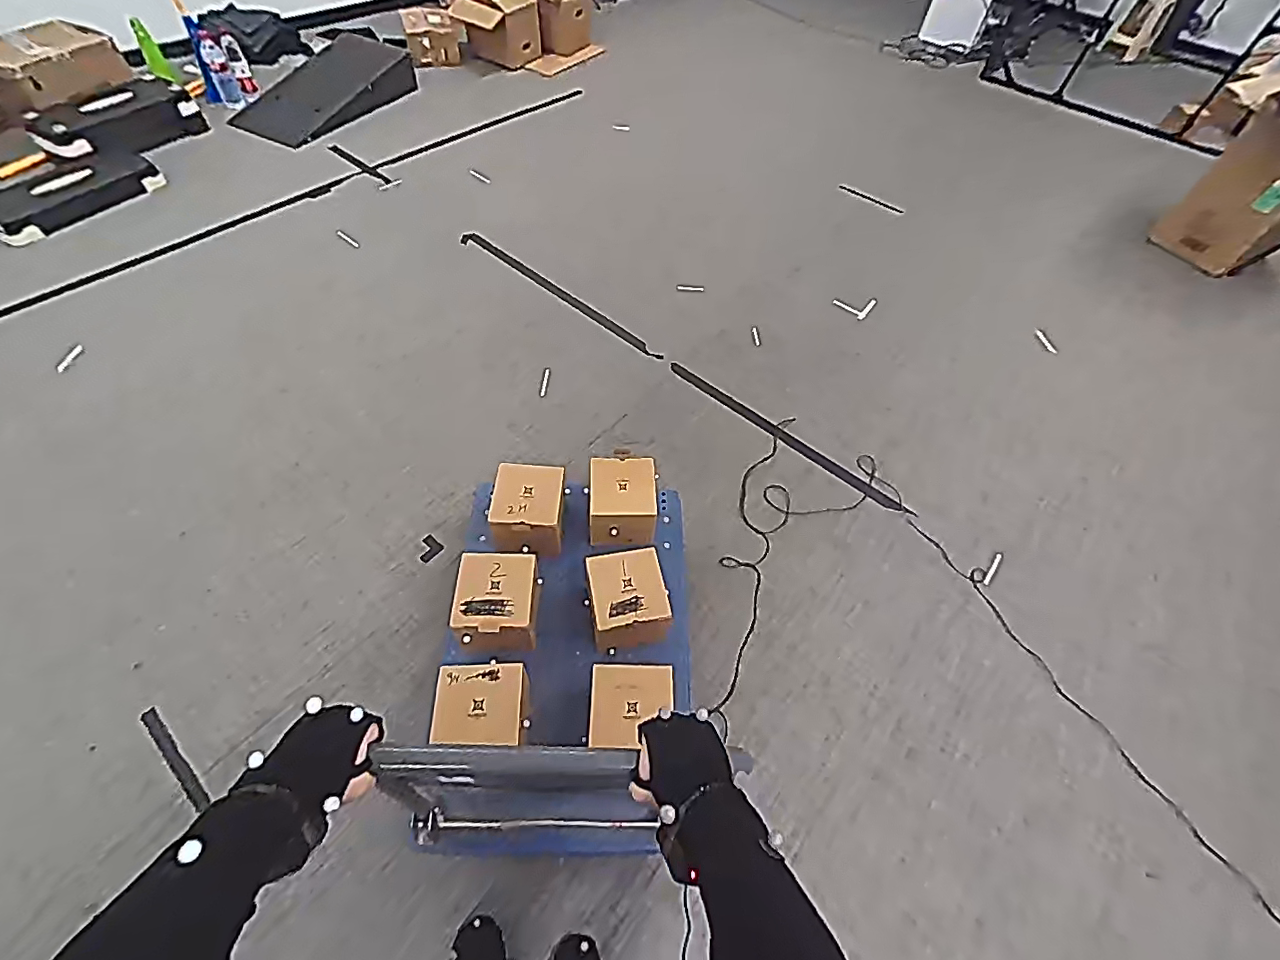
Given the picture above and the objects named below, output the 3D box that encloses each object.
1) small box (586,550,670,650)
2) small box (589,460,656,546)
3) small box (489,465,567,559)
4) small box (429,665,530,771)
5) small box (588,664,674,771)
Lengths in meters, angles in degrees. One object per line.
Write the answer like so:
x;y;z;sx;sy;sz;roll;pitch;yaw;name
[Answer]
-0.033;0.288;1.275;0.168;0.176;0.179;-7;55;-10;small box
-0.049;0.065;1.430;0.168;0.176;0.179;0;55;-5;small box
-0.280;0.083;1.392;0.168;0.176;0.179;4;56;-2;small box
-0.317;0.490;1.106;0.168;0.176;0.179;0;56;-6;small box
-0.020;0.500;1.128;0.168;0.176;0.179;4;54;-4;small box
